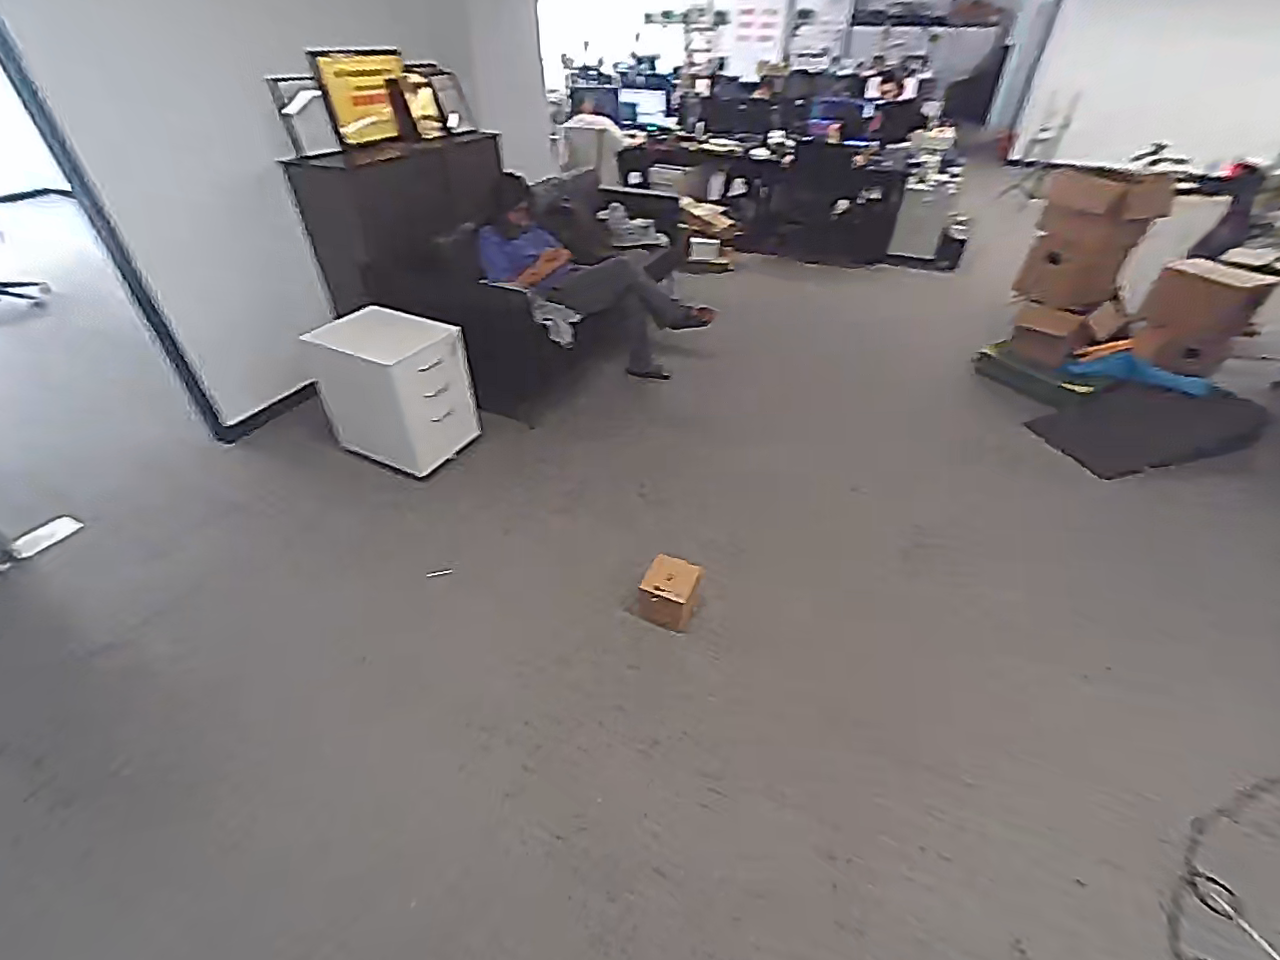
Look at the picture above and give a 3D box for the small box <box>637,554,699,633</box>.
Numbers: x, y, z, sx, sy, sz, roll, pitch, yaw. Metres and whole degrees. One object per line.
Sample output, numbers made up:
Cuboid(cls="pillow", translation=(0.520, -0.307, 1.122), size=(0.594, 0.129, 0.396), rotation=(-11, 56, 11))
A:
Cuboid(cls="small box", translation=(0.095, 0.398, 1.896), size=(0.168, 0.176, 0.179), rotation=(17, 41, 19))
